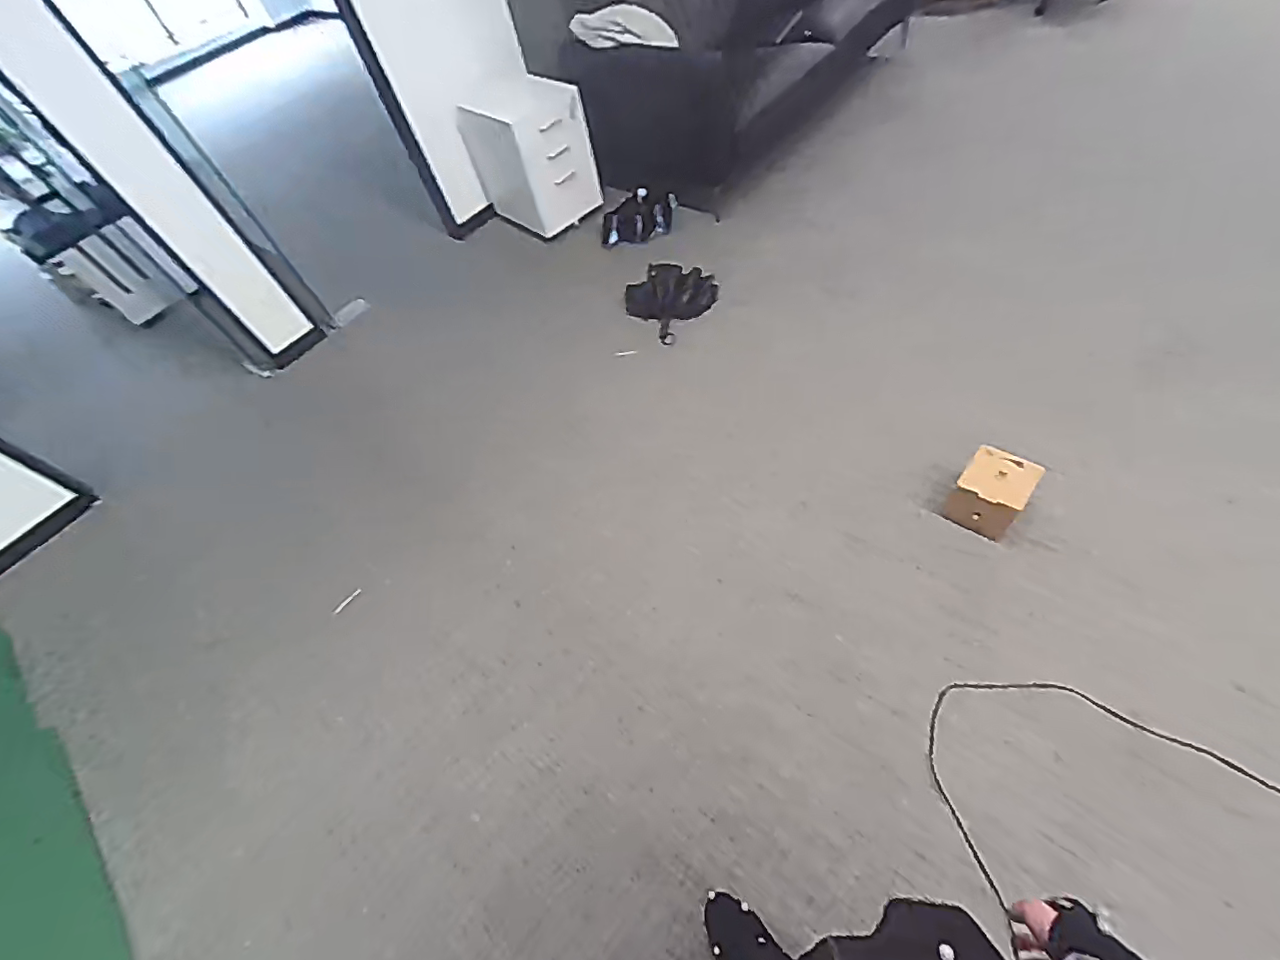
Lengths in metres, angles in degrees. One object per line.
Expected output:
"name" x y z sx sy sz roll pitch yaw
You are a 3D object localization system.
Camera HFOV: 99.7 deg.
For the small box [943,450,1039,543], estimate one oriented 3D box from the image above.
"small box" 1.010 0.053 1.573 0.168 0.176 0.179 30 66 30
